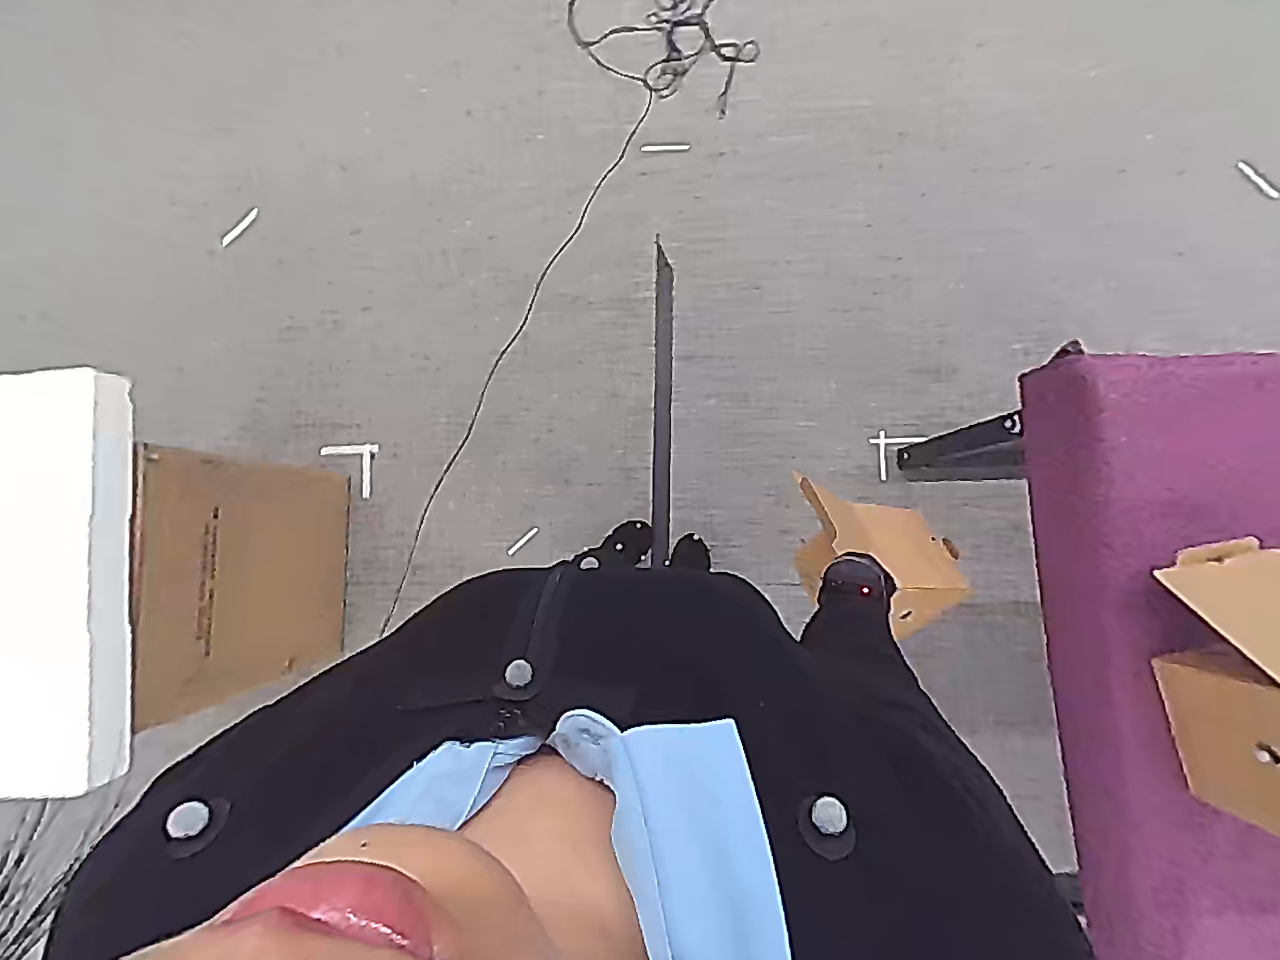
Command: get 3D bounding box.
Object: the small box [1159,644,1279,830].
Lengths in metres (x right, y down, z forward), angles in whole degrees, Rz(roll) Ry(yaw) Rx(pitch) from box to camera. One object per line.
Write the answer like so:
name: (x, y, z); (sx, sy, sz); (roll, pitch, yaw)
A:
small box: (0.757, 0.293, 0.615); (0.168, 0.176, 0.179); (-11, 83, 2)
